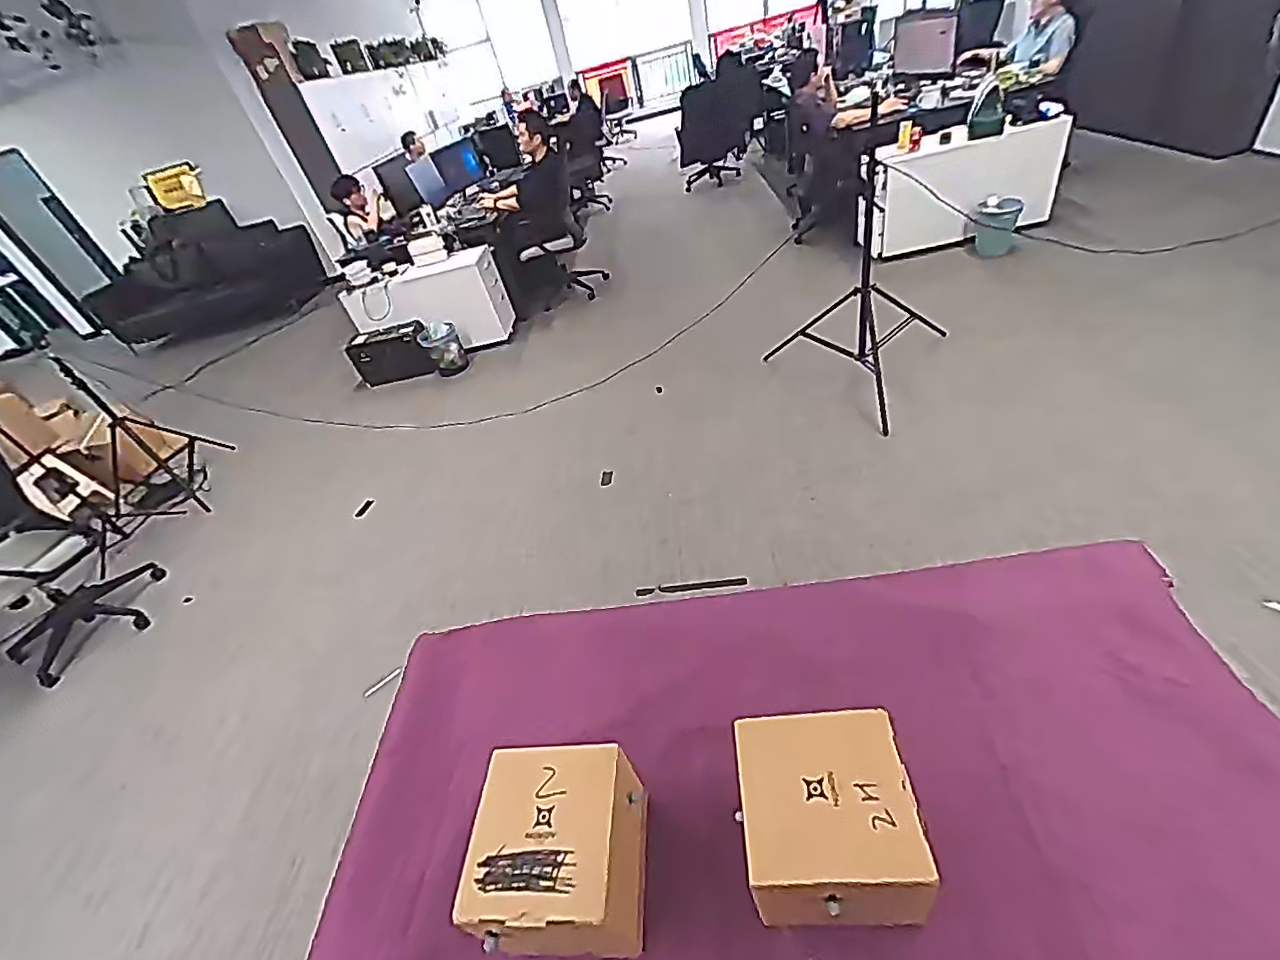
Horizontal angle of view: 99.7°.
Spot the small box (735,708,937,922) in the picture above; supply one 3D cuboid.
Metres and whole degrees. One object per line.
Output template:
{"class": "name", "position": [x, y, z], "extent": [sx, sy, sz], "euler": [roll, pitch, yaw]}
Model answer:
{"class": "small box", "position": [0.212, 0.384, 0.617], "extent": [0.179, 0.176, 0.168], "euler": [-8, 40, 10]}
